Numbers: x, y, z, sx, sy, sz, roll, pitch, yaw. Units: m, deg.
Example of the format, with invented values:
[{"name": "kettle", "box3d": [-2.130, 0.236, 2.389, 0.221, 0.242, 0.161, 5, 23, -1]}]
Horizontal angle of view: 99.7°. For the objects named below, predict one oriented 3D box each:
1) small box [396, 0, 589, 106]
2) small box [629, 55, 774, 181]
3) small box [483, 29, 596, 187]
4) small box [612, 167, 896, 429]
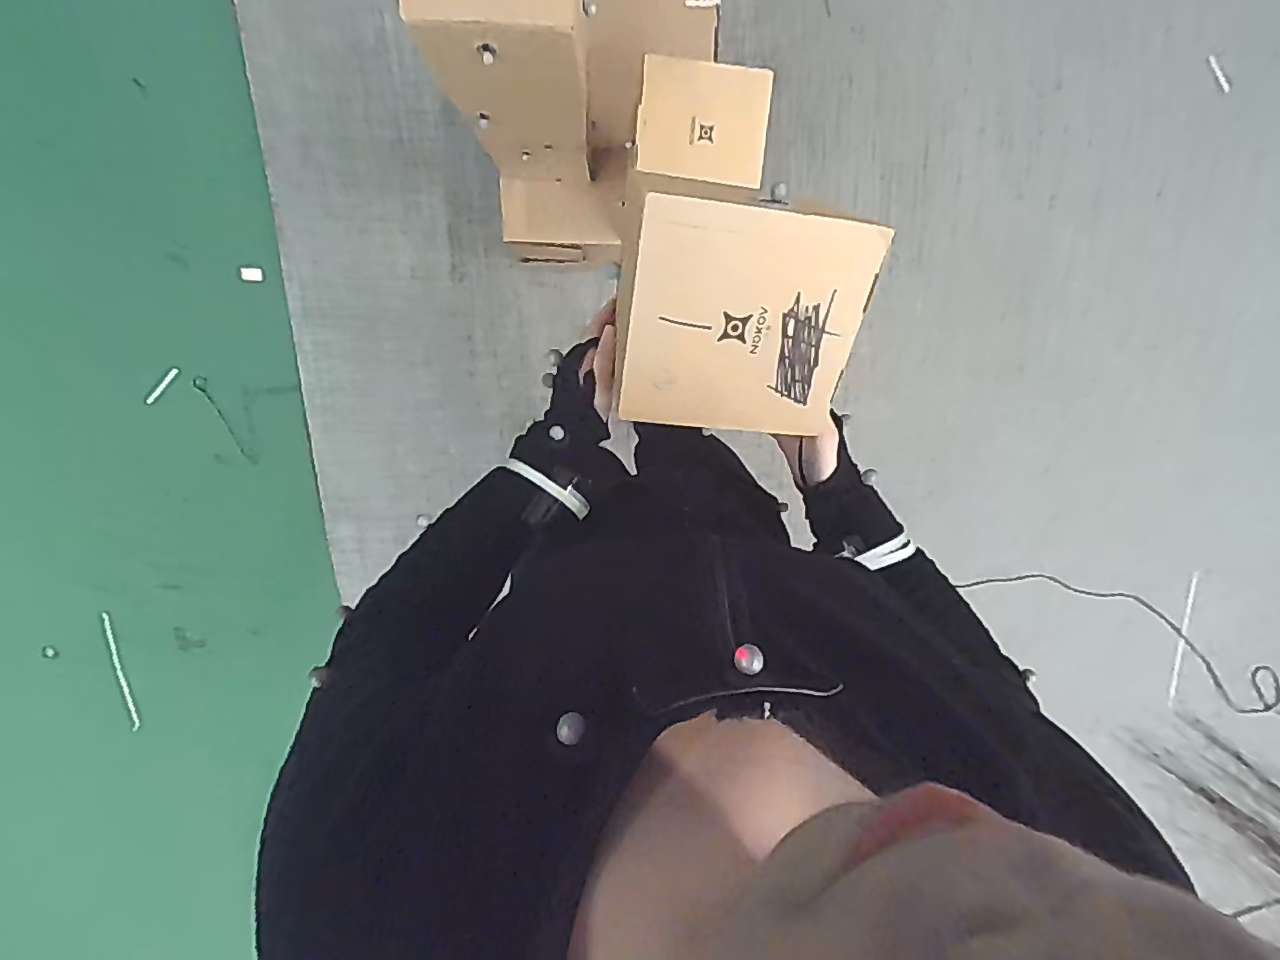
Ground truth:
[{"name": "small box", "box3d": [-0.152, -0.545, 0.598, 0.179, 0.176, 0.168, 2, 102, -2]}, {"name": "small box", "box3d": [0.077, -0.477, 0.795, 0.179, 0.176, 0.168, 4, 102, -4]}, {"name": "small box", "box3d": [-0.163, -0.627, 0.918, 0.168, 0.176, 0.179, 4, 101, -2]}, {"name": "small box", "box3d": [0.073, -0.160, 0.463, 0.179, 0.176, 0.168, 5, 123, -8]}]
